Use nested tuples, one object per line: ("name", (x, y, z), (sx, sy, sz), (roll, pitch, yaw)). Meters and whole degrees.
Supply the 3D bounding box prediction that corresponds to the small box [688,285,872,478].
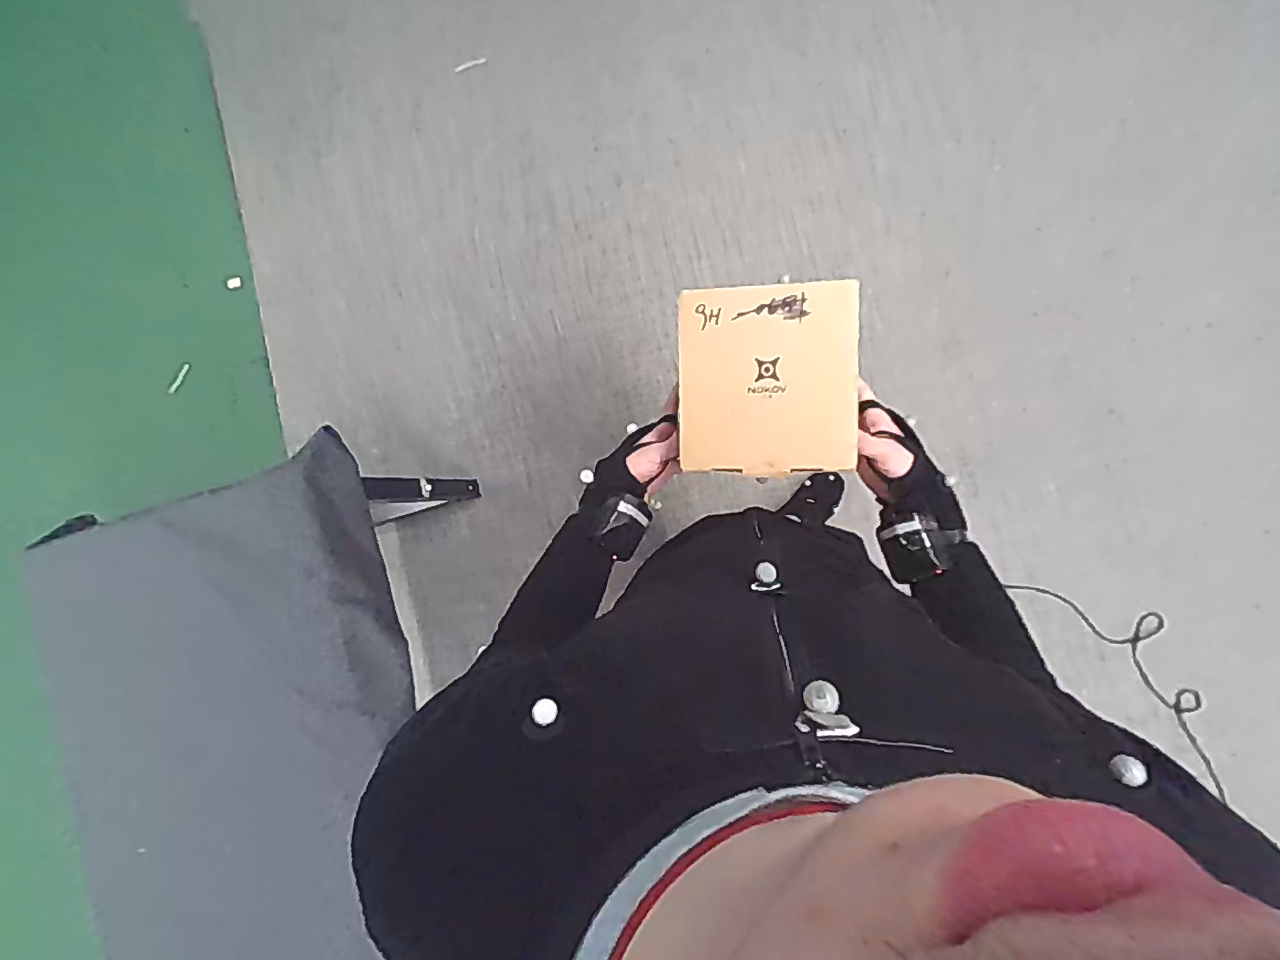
("small box", (0.141, -0.096, 0.581), (0.168, 0.176, 0.179), (0, 94, 9))
